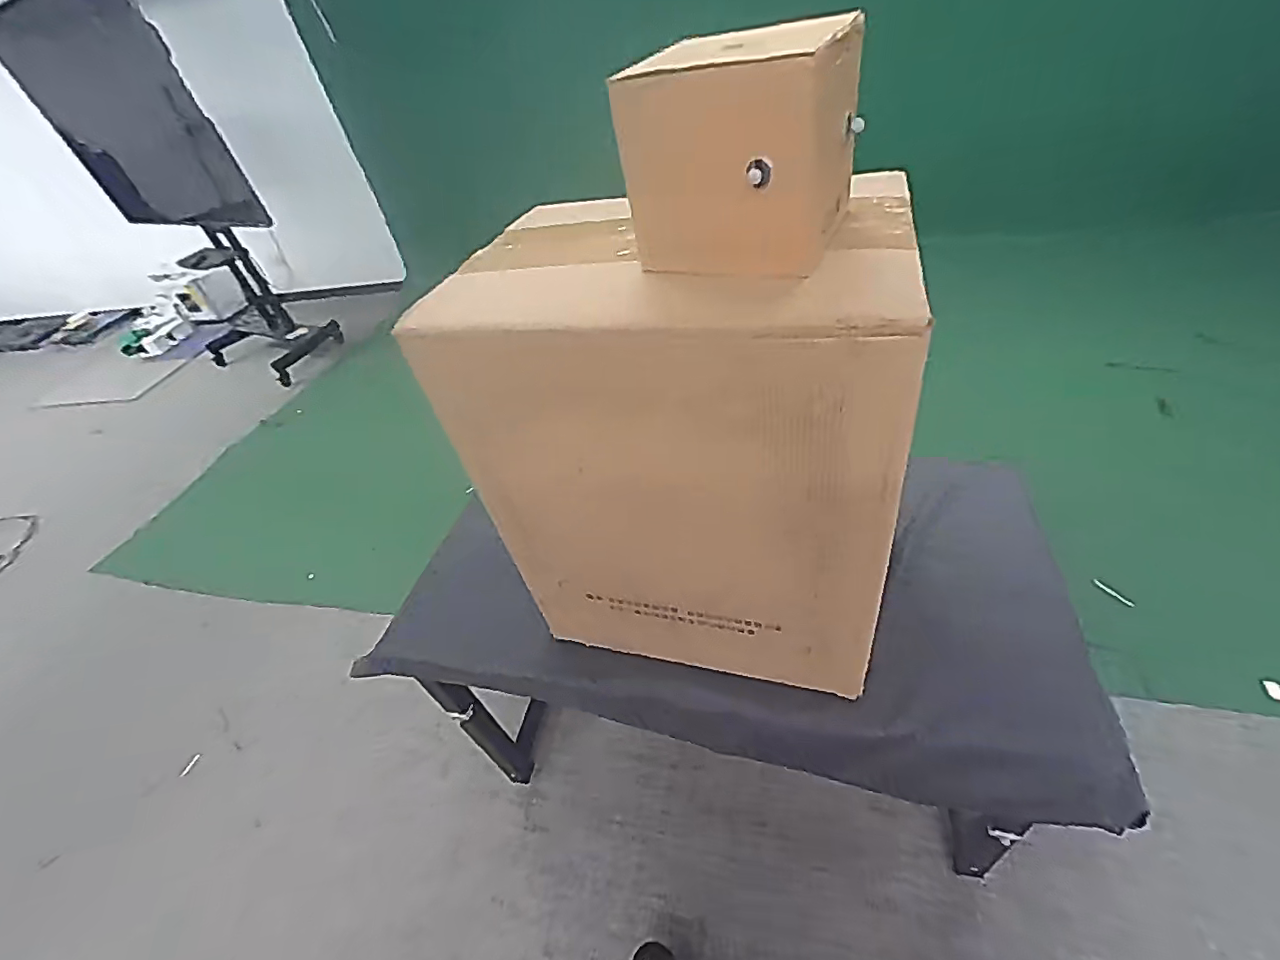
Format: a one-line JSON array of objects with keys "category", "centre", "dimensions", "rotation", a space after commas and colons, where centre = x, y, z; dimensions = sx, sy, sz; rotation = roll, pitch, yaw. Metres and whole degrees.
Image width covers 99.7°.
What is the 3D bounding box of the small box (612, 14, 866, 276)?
[{"category": "small box", "centre": [0.103, -0.312, 0.522], "dimensions": [0.179, 0.176, 0.168], "rotation": [13, 49, 28]}]
